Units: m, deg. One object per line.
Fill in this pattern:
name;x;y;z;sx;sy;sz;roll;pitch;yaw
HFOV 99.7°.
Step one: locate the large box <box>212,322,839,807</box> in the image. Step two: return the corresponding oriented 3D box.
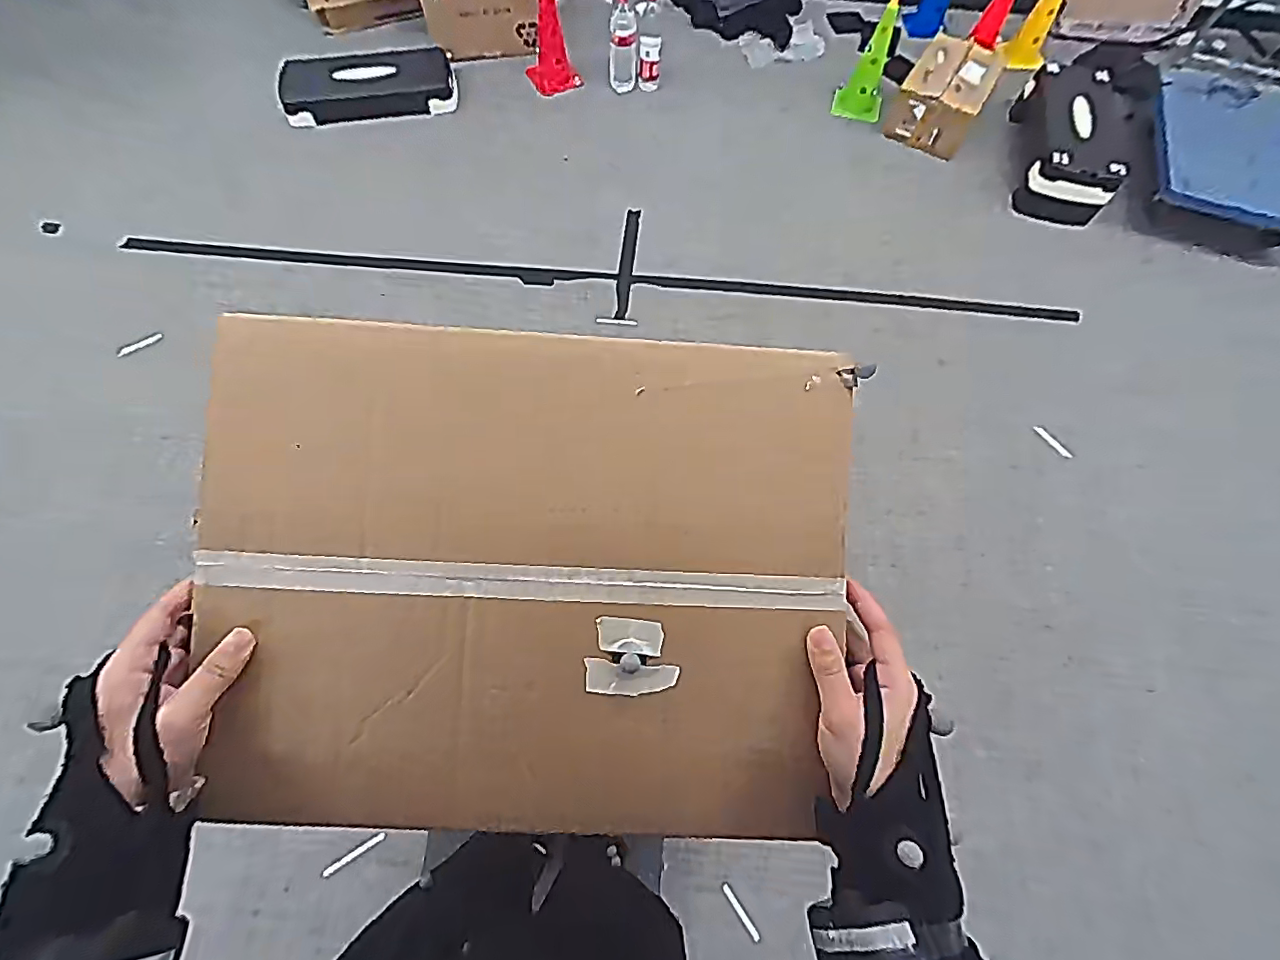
large box;-0.075;0.063;0.503;0.408;0.320;0.320;3;89;-2
